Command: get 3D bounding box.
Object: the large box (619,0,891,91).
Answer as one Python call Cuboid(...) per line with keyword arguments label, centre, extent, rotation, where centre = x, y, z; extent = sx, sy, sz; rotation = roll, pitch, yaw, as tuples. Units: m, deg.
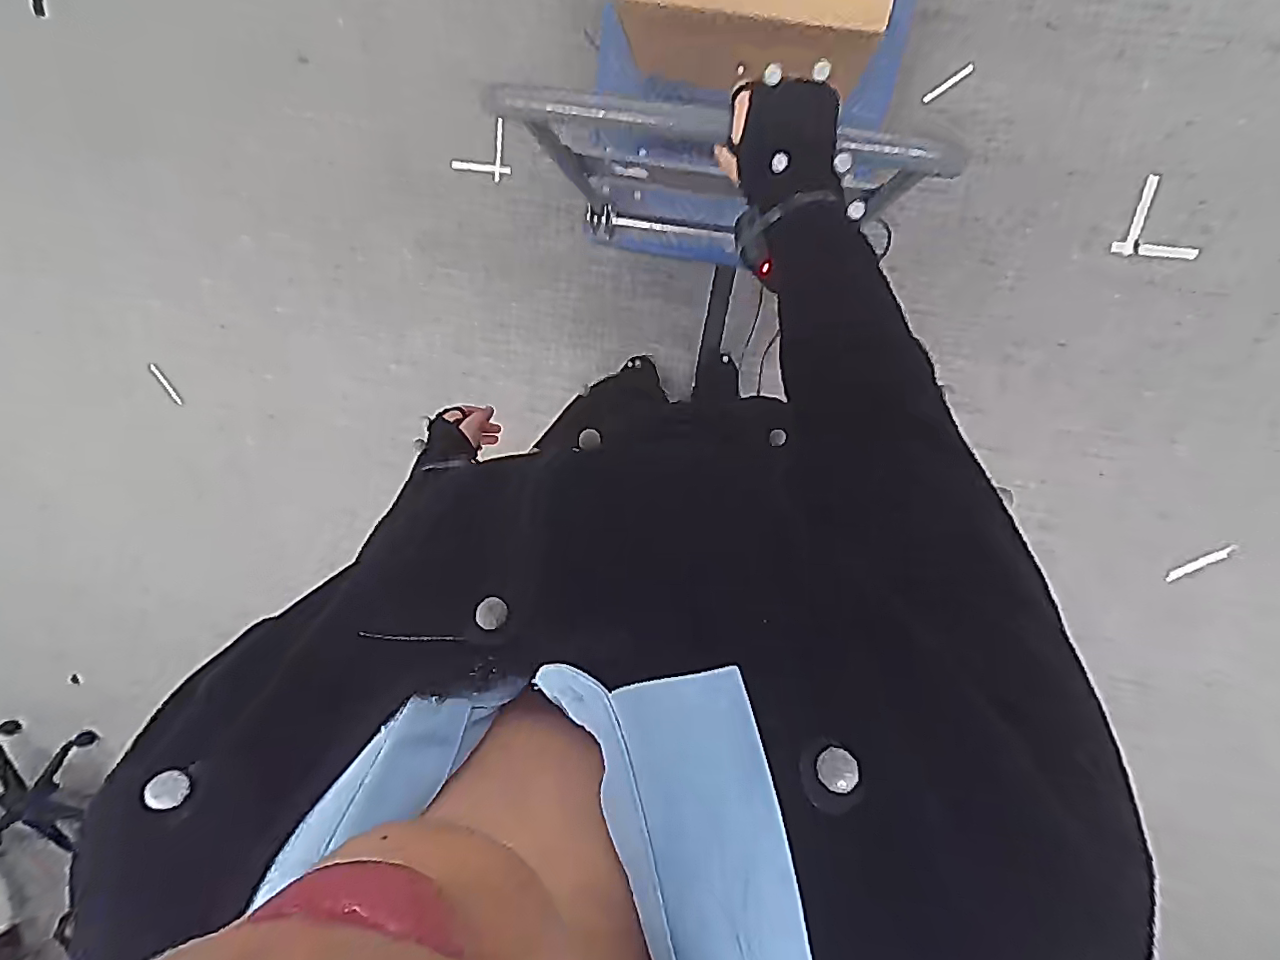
Cuboid(label="large box", centre=(0.201, -0.871, 0.864), extent=(0.408, 0.320, 0.320), rotation=(12, 108, 6))
